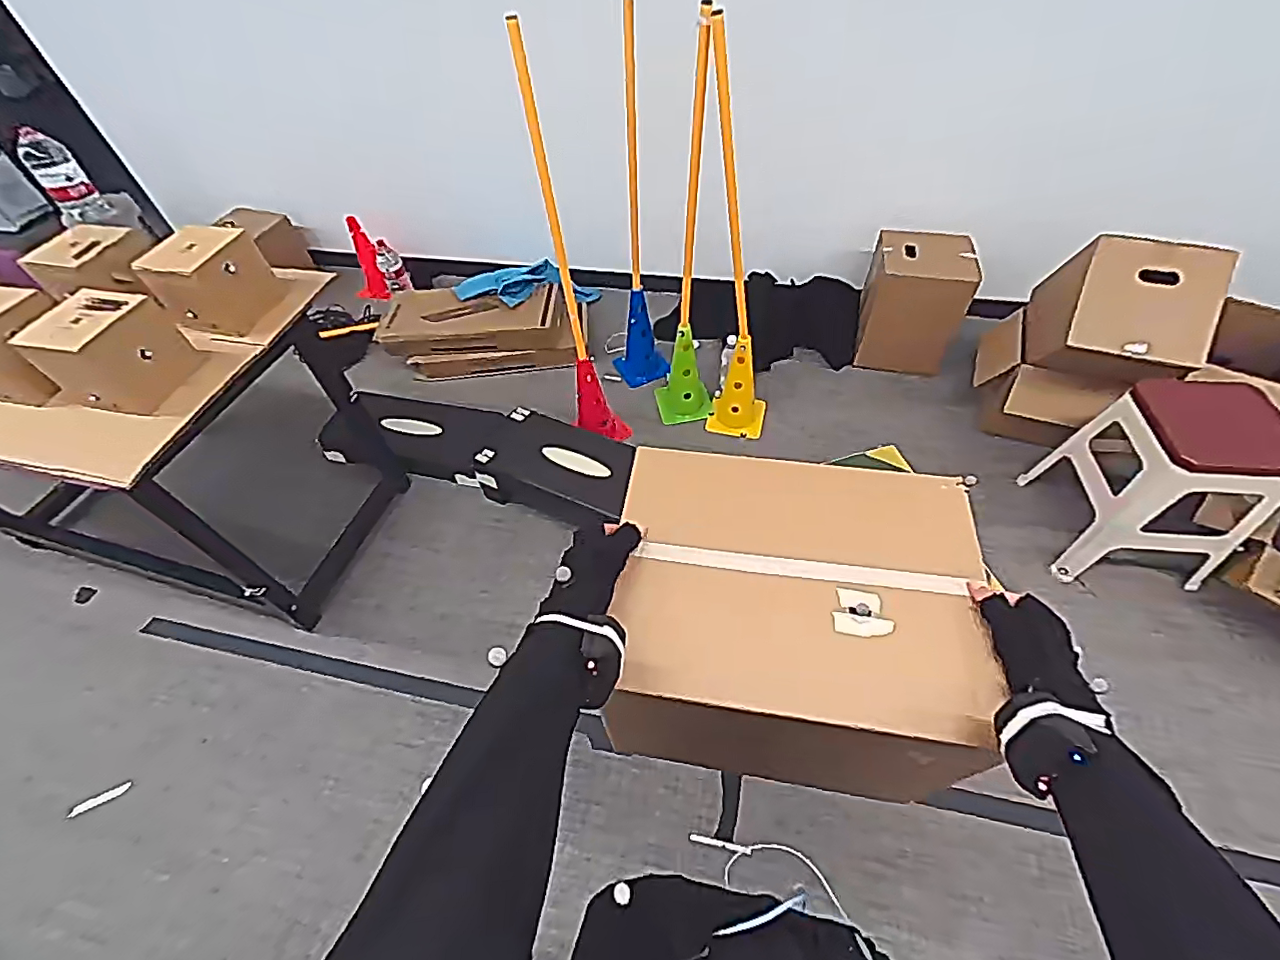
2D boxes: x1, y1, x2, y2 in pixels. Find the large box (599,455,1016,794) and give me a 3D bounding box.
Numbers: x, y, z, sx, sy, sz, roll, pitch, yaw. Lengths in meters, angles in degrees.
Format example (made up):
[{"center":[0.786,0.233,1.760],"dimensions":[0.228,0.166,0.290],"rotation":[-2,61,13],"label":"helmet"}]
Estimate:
[{"center":[0.181,0.195,0.727],"dimensions":[0.408,0.320,0.320],"rotation":[7,54,8],"label":"large box"}]
